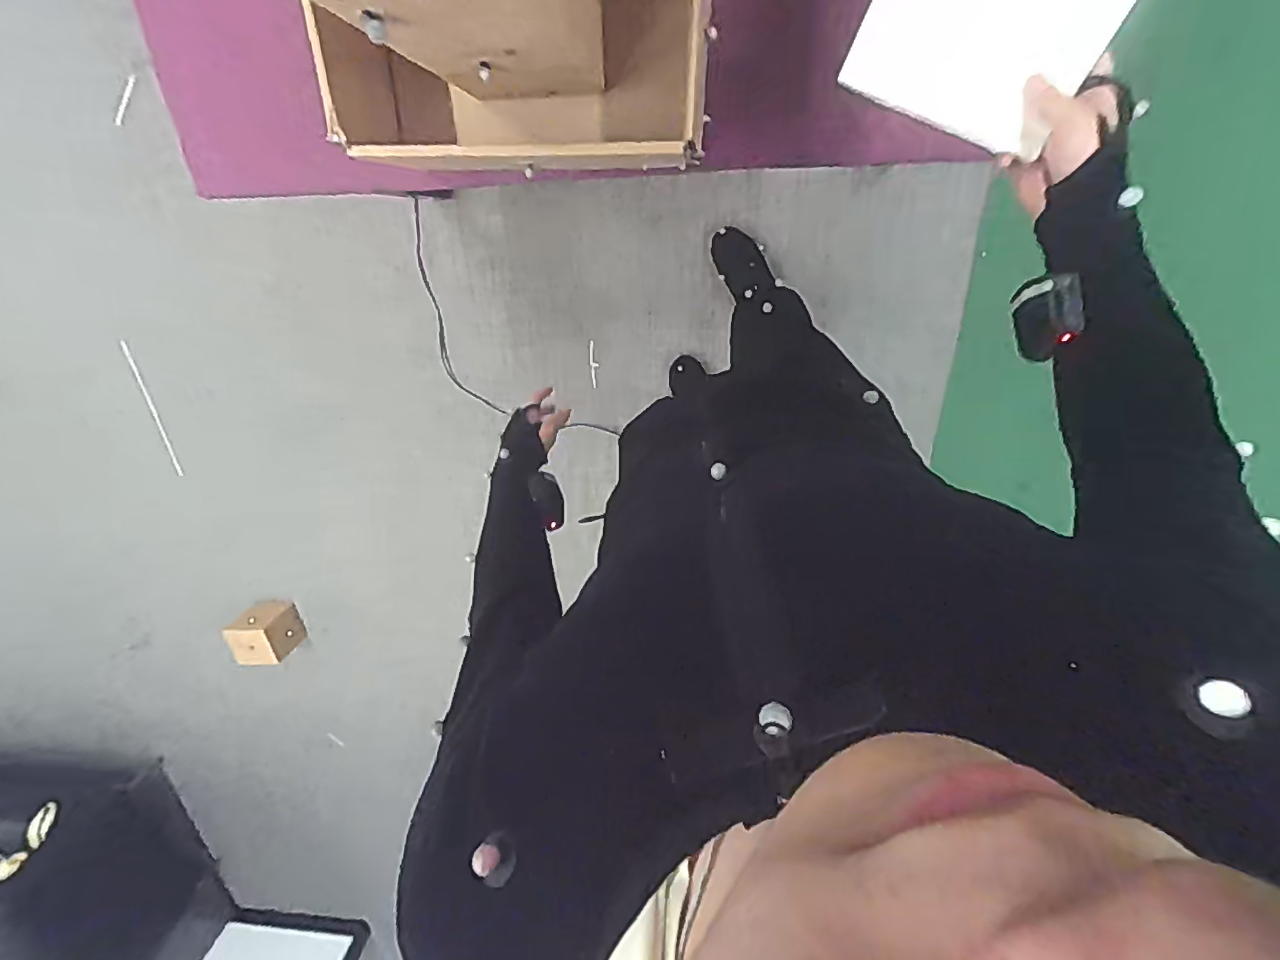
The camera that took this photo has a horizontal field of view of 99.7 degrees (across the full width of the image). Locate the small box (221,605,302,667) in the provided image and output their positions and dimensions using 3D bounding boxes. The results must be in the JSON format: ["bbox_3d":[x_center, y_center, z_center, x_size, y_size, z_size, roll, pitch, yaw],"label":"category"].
[{"bbox_3d":[-1.440,0.595,2.078,0.179,0.176,0.168,-2,113,8],"label":"small box"}]
